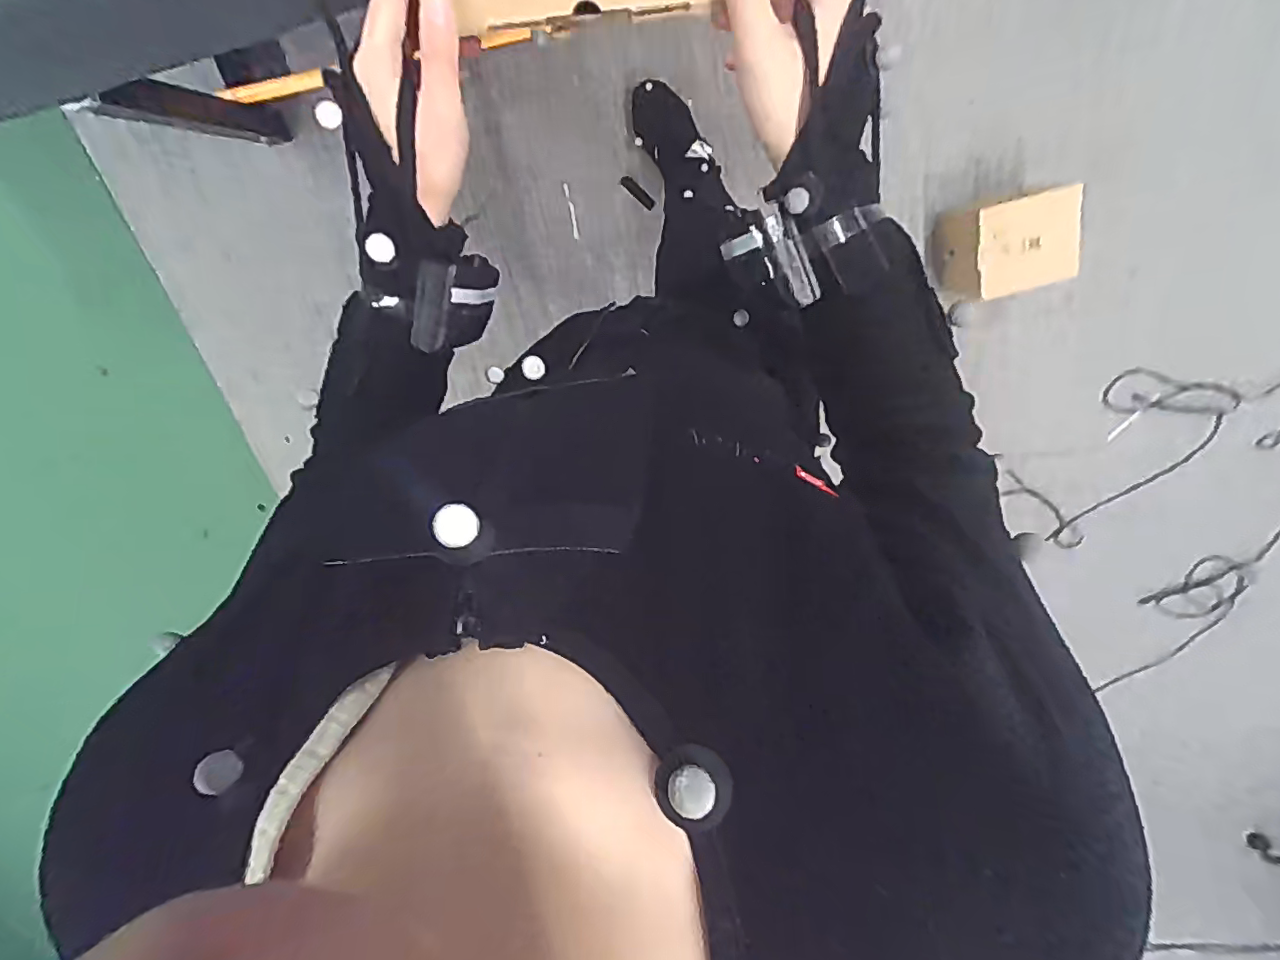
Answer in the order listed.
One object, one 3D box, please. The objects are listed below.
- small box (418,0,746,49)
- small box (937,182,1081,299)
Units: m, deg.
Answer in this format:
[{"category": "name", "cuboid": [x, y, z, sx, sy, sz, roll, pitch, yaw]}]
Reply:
[{"category": "small box", "cuboid": [-0.030, -0.342, 0.274, 0.168, 0.176, 0.179, -2, 132, 4]}, {"category": "small box", "cuboid": [0.717, -0.472, 1.066, 0.179, 0.176, 0.168, -13, 114, 10]}]
